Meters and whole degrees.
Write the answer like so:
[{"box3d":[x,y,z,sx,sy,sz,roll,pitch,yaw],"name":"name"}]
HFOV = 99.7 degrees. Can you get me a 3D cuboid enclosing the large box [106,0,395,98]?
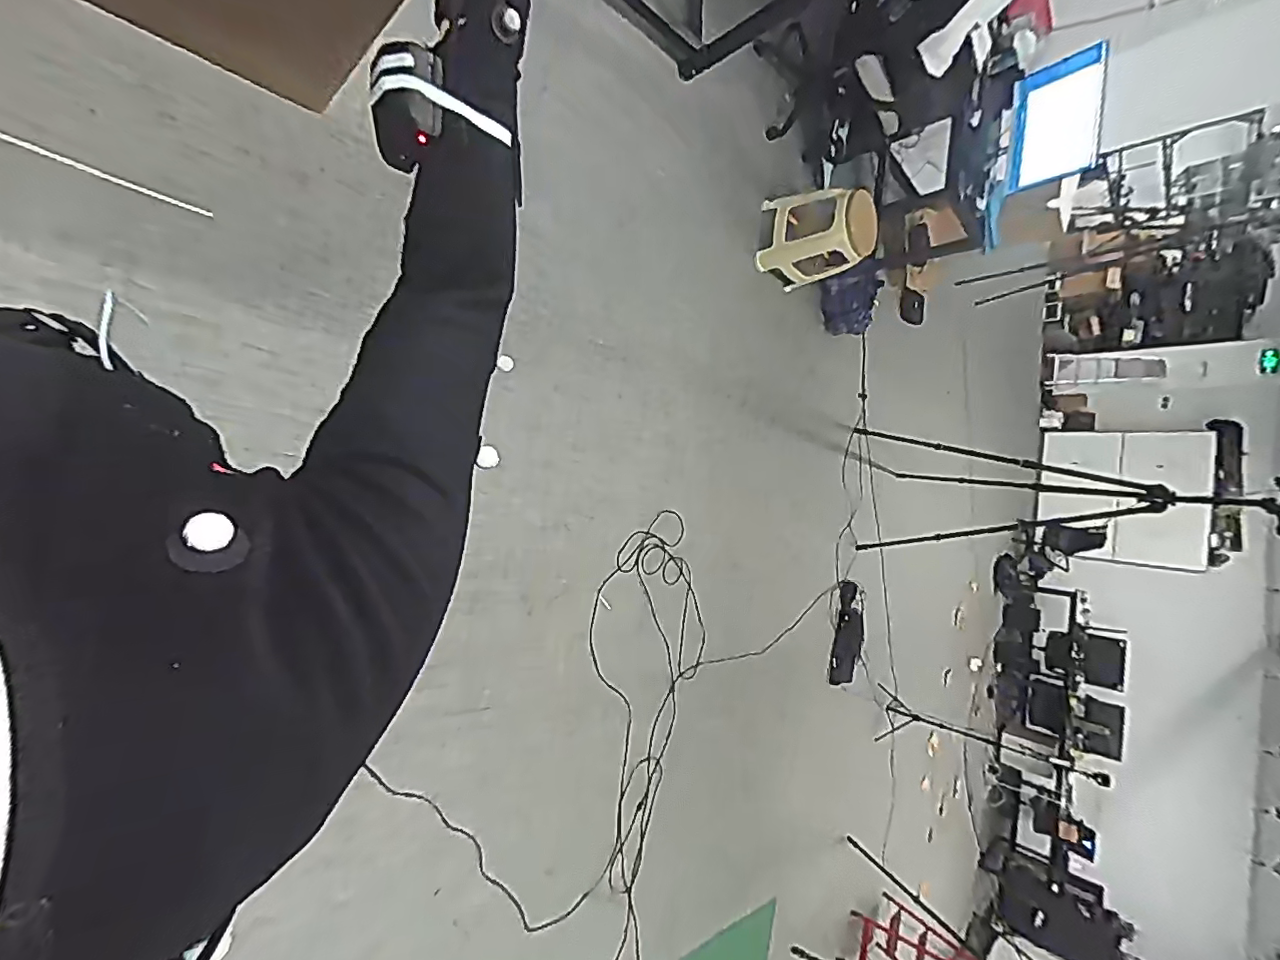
[{"box3d":[-0.344,-0.530,0.304,0.408,0.320,0.320,3,91,-47],"name":"large box"}]
